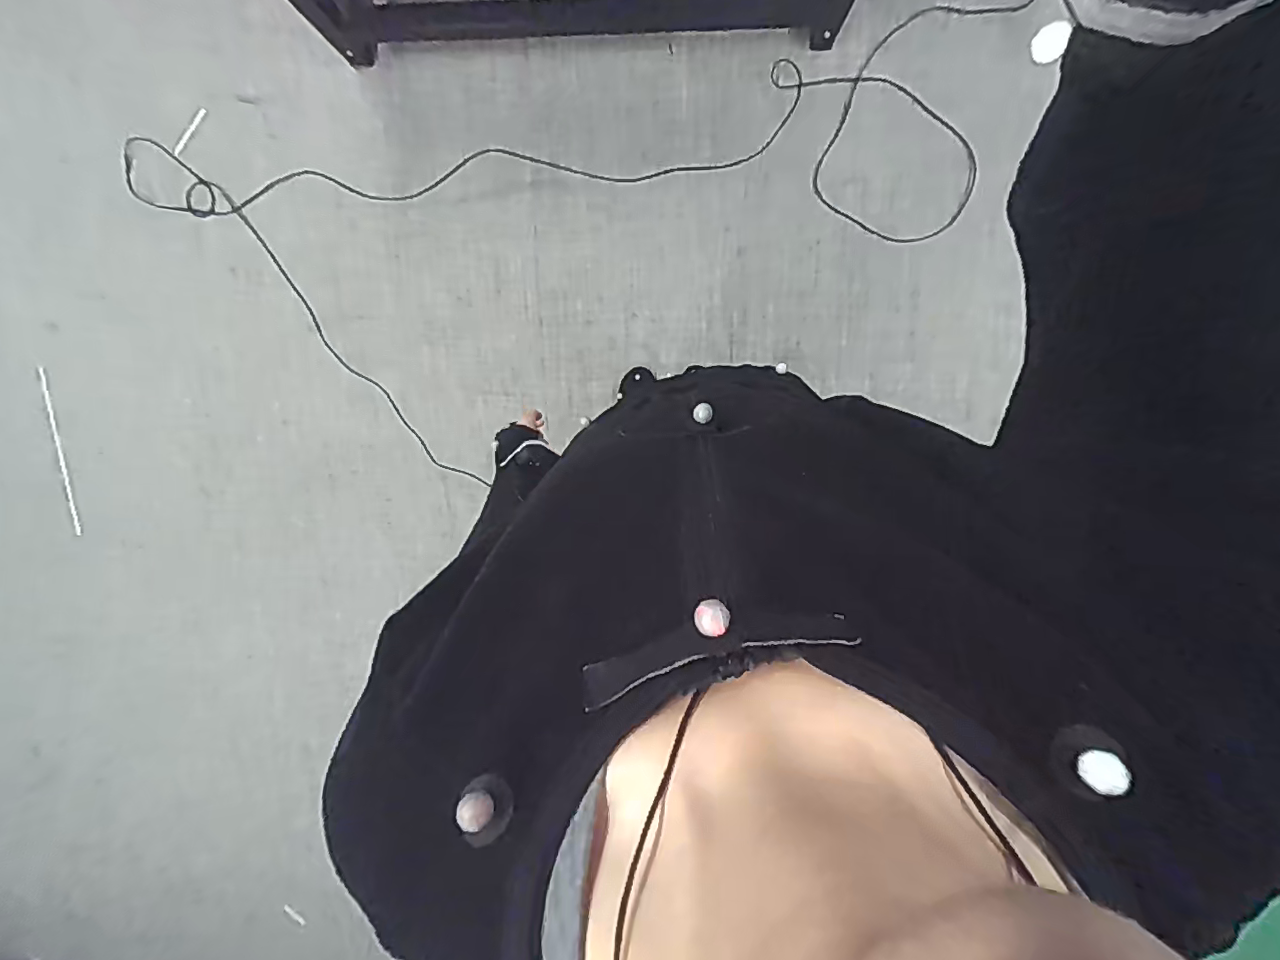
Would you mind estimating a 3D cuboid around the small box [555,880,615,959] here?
[{"bbox_3d":[-0.167,1.377,1.666,0.168,0.176,0.179,-1,100,2],"label":"small box"}]
